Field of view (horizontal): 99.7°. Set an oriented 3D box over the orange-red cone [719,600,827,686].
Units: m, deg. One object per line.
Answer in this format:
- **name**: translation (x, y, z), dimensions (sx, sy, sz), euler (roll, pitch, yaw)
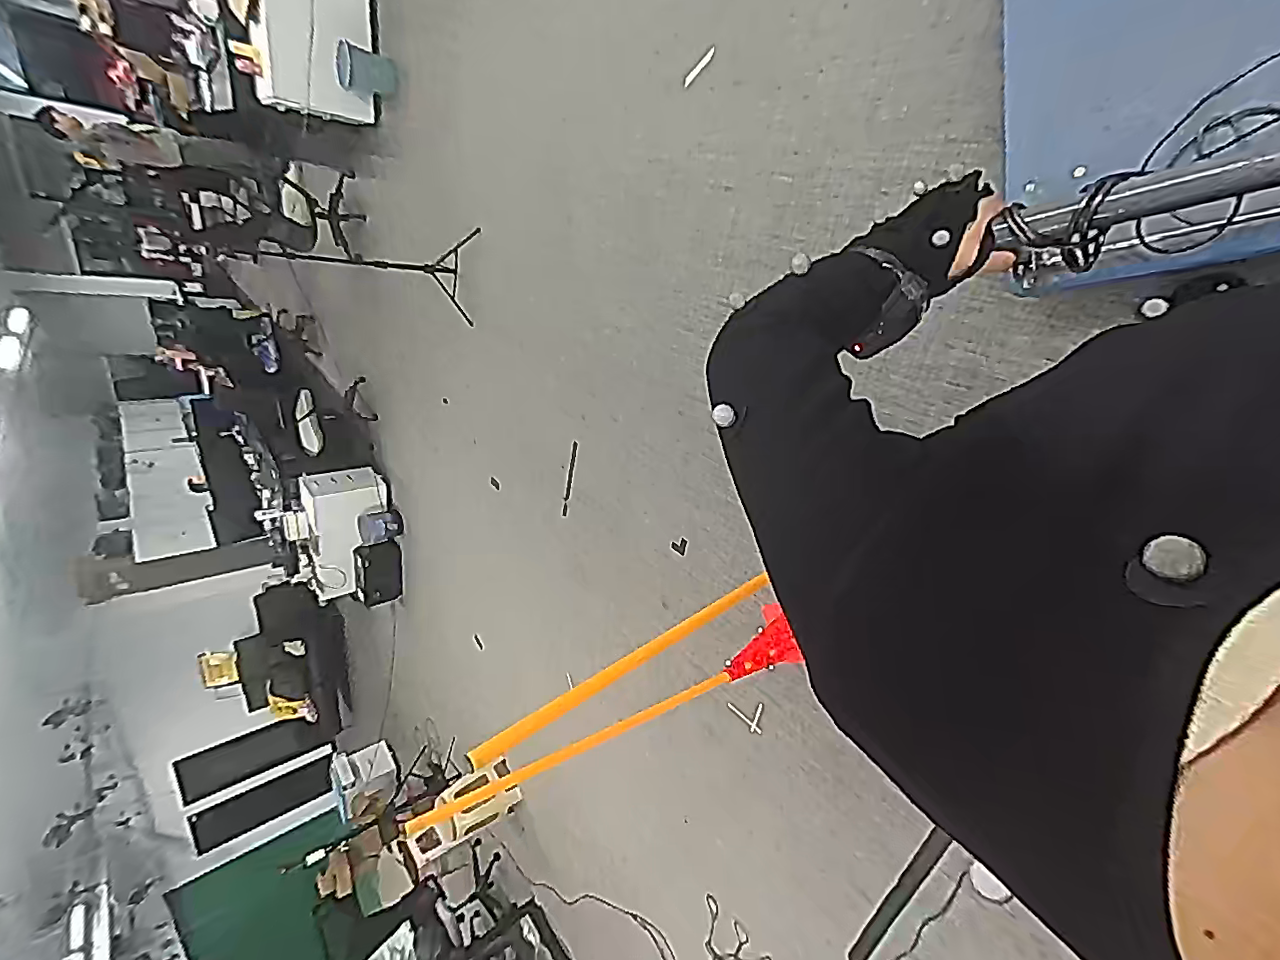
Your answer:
- **orange-red cone**: translation (0.357, 0.514, 1.597), dimensions (0.199, 0.360, 0.198), euler (-29, 79, 47)
